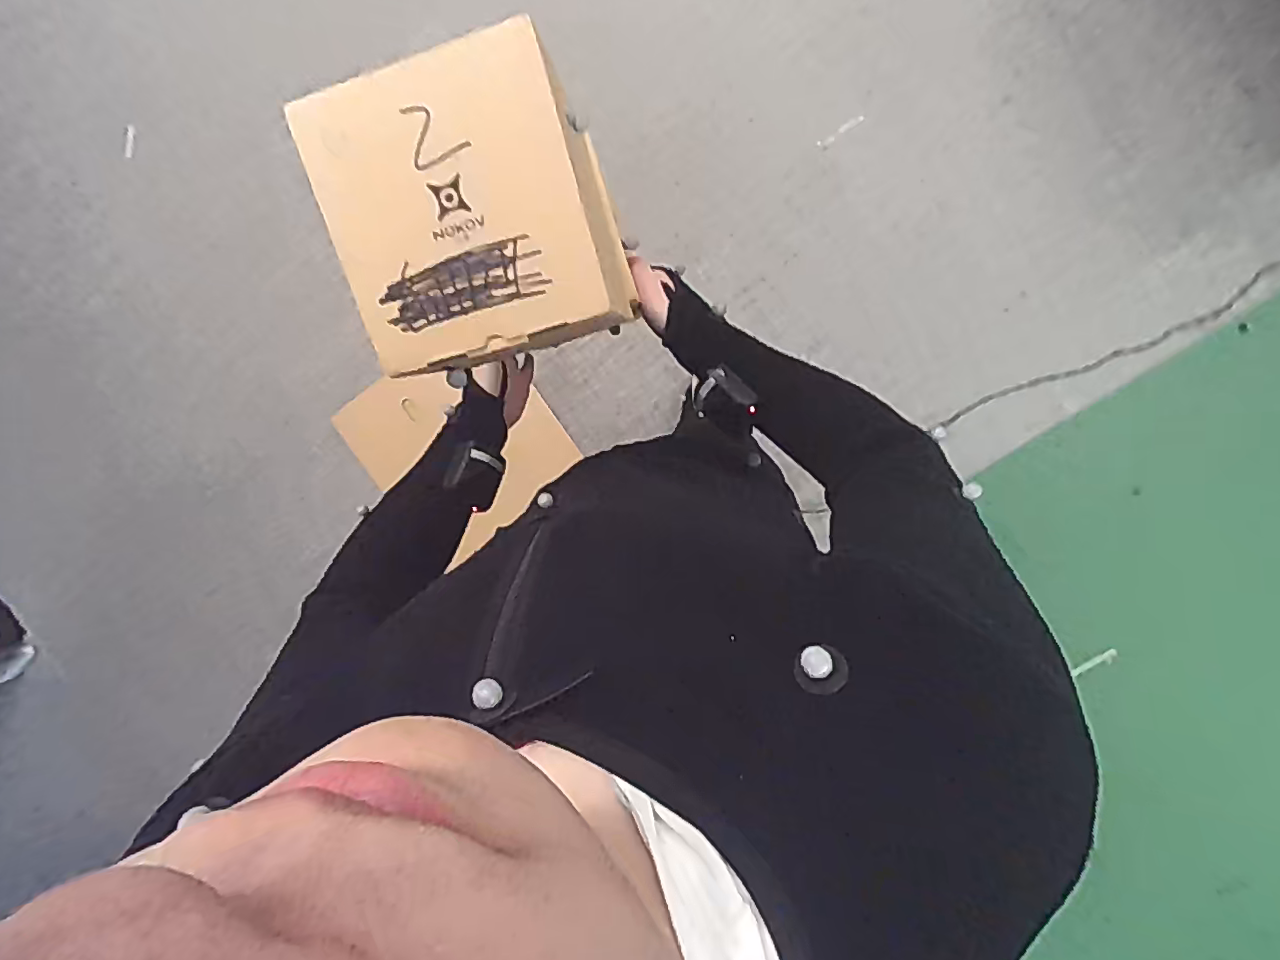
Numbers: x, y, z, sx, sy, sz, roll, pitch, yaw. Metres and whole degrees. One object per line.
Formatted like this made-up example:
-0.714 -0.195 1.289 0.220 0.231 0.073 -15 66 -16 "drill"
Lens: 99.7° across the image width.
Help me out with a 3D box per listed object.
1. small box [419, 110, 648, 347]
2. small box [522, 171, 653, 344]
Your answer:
-0.094 -0.249 0.577 0.179 0.176 0.168 -15 104 8 "small box"
-0.085 -0.290 0.734 0.179 0.176 0.168 -15 103 7 "small box"
